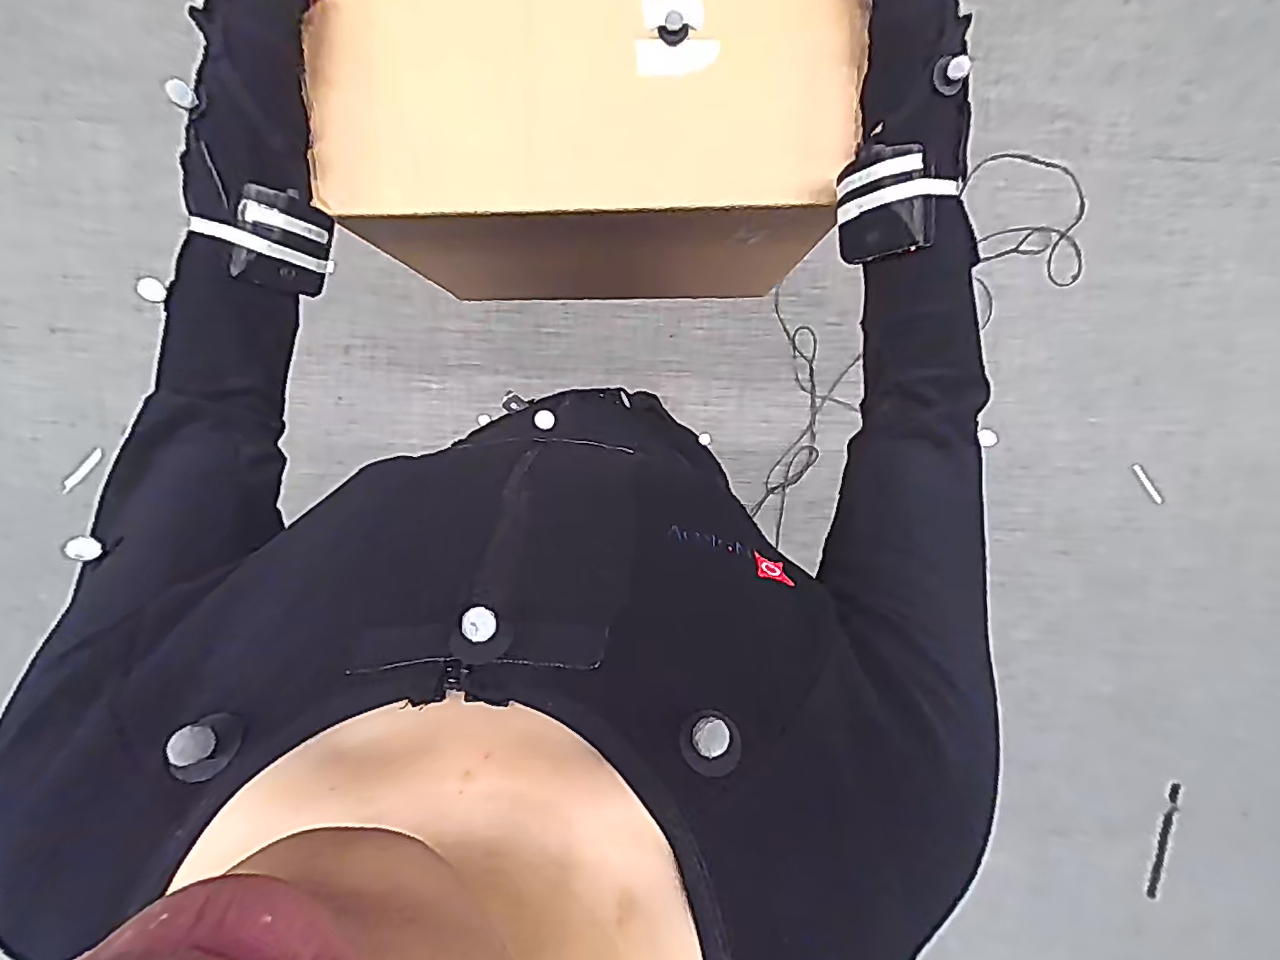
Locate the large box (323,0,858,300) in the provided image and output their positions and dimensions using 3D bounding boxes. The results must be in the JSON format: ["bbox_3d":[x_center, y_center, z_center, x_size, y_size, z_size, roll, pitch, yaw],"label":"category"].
[{"bbox_3d":[-0.038,-0.379,0.546,0.408,0.320,0.320,-1,97,1],"label":"large box"}]
